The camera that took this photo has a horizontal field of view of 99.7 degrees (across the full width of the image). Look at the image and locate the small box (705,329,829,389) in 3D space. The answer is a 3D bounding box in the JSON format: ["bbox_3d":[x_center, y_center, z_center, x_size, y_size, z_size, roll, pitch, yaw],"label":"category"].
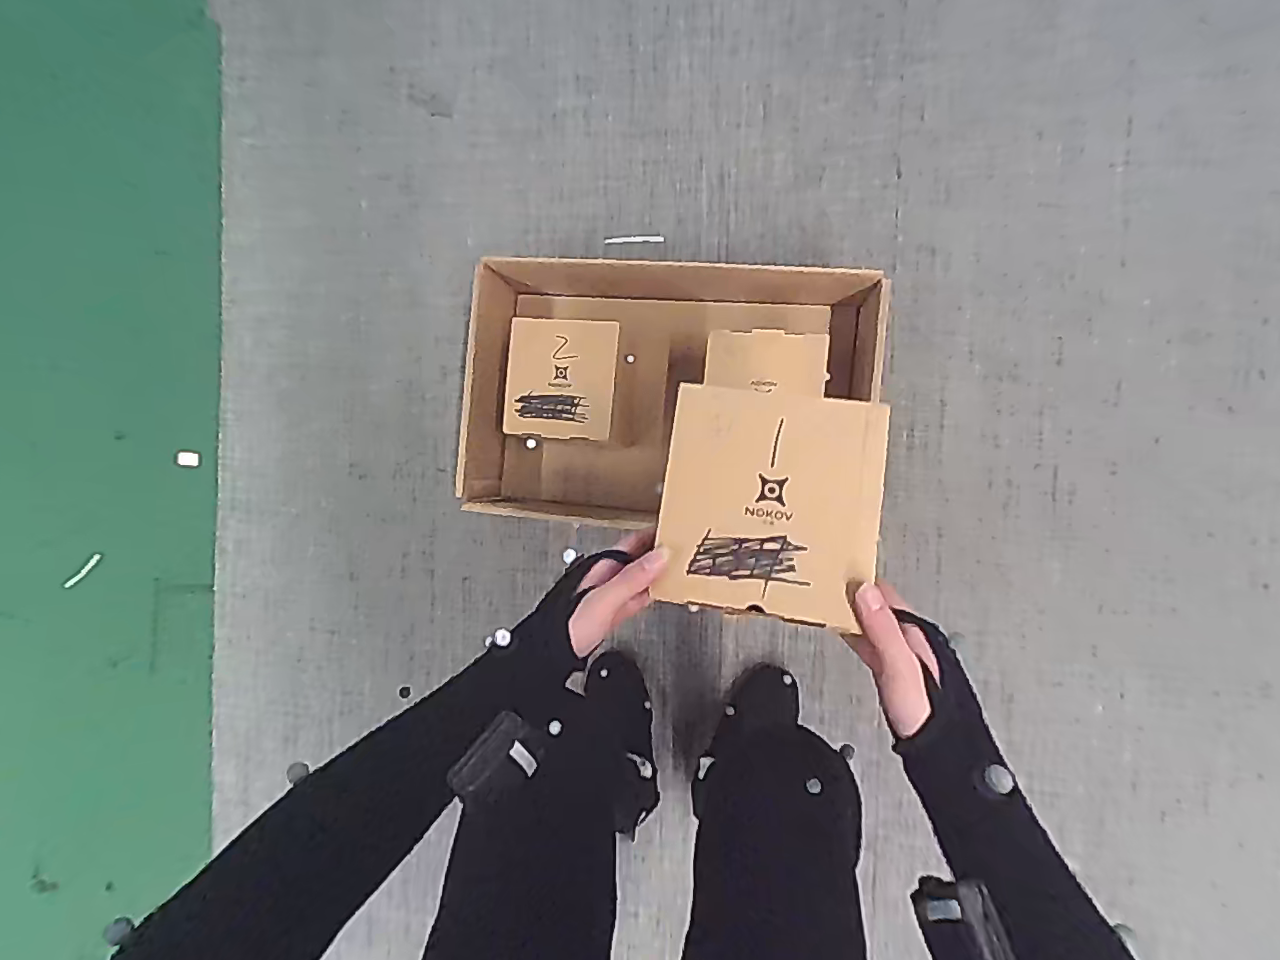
[{"bbox_3d":[0.180,-0.117,0.821,0.168,0.176,0.179,6,91,10],"label":"small box"}]

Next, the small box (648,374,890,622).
[{"bbox_3d":[0.110,0.022,0.494,0.168,0.176,0.179,8,80,8],"label":"small box"}]
